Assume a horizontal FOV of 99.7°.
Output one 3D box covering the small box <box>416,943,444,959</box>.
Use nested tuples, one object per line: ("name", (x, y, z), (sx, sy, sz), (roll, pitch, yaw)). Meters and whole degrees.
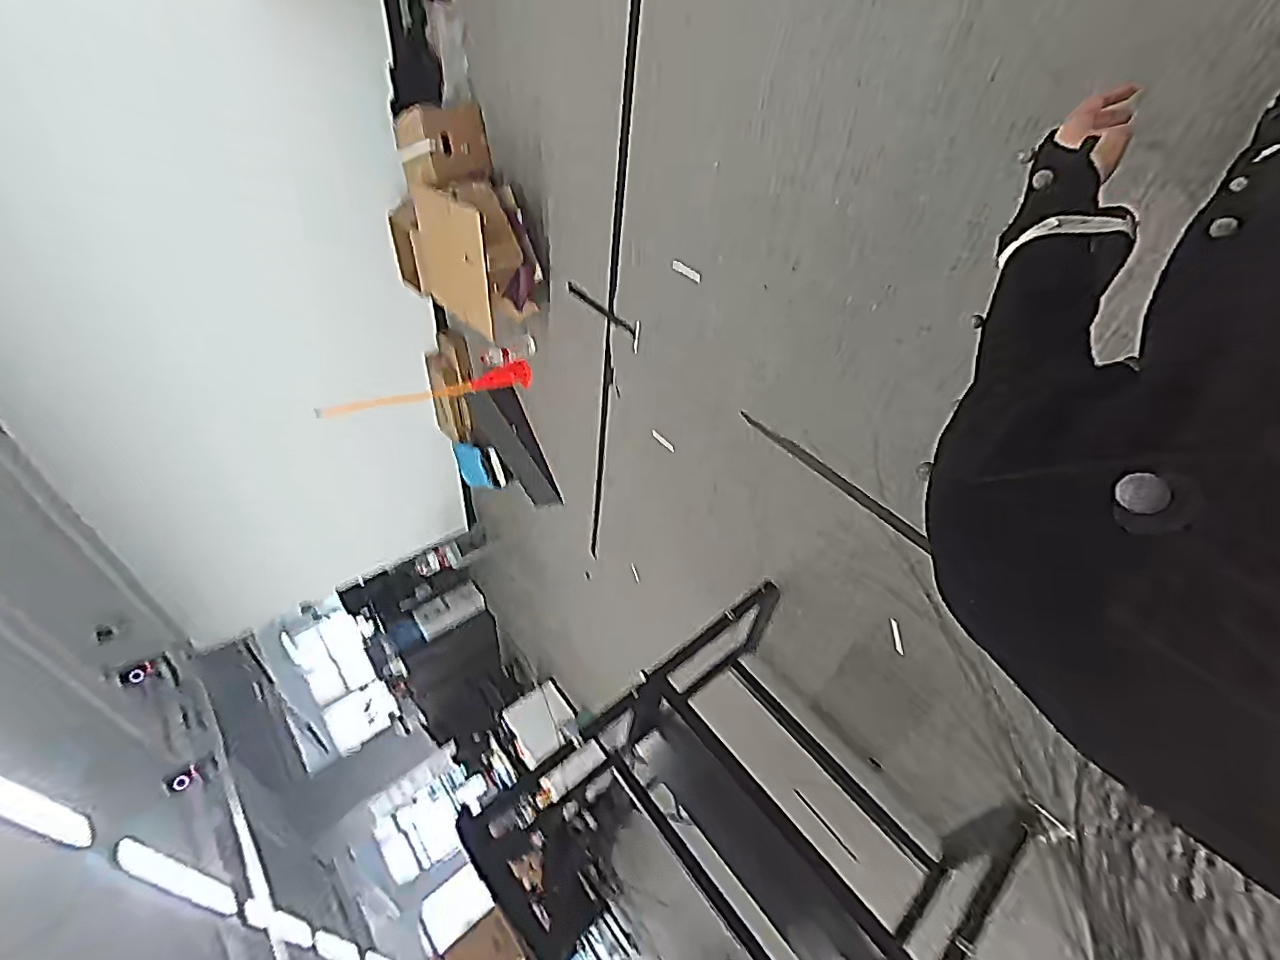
("small box", (-0.556, 1.349, 1.400), (0.168, 0.176, 0.179), (44, 144, 28))

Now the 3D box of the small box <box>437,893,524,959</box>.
("small box", (-0.431, 1.284, 1.483), (0.168, 0.176, 0.179), (42, 144, 28))
